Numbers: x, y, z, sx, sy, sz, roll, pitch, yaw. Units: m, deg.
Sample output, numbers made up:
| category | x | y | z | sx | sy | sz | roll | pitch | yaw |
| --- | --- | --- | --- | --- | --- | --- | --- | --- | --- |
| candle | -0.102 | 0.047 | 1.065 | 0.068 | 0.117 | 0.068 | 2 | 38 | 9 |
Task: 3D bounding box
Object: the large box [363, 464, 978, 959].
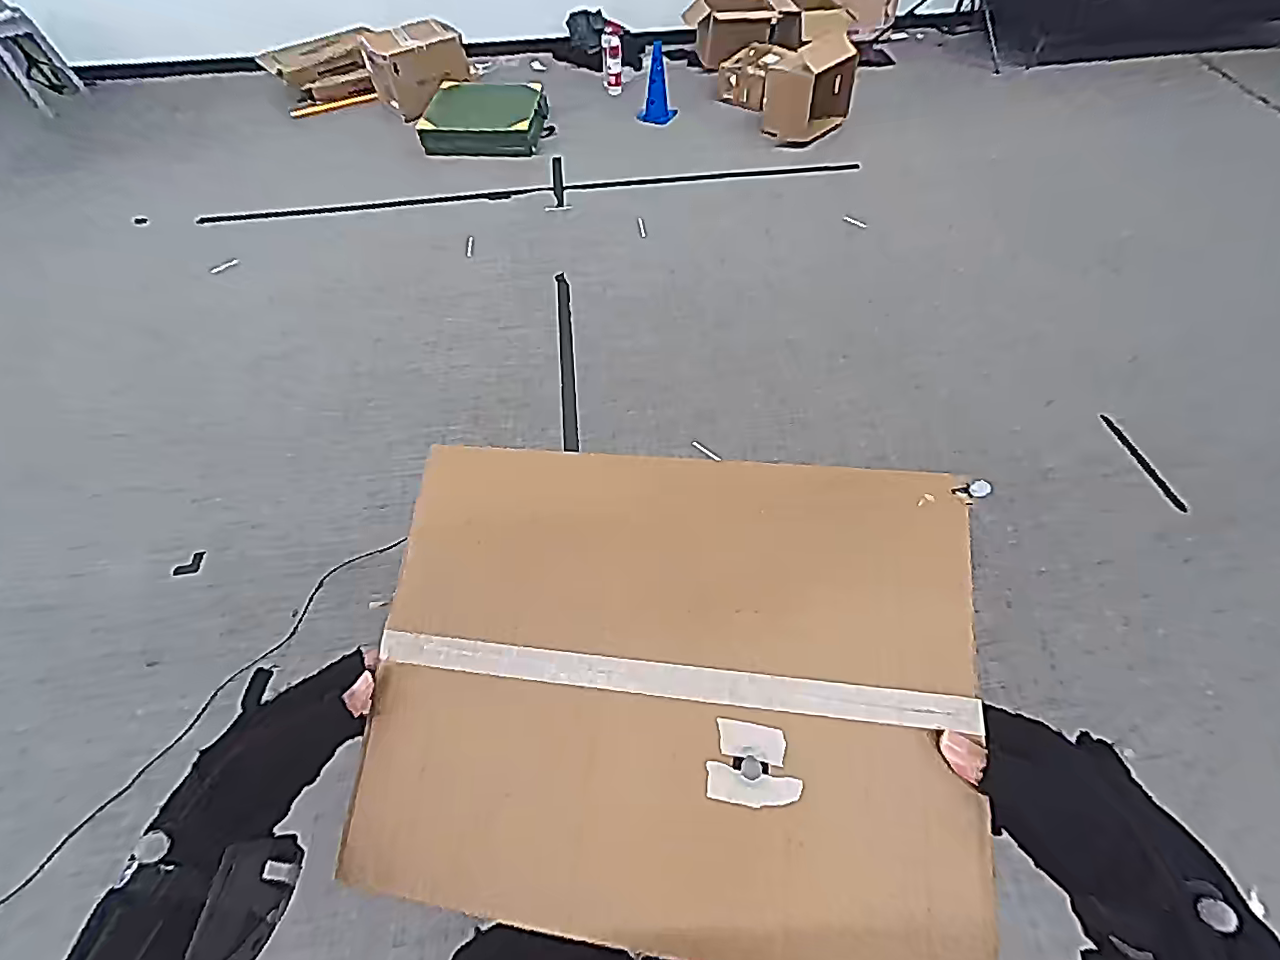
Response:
| category | x | y | z | sx | sy | sz | roll | pitch | yaw |
| --- | --- | --- | --- | --- | --- | --- | --- | --- | --- |
| large box | 0.034 | 0.183 | 0.526 | 0.408 | 0.320 | 0.320 | 3 | 74 | 10 |
